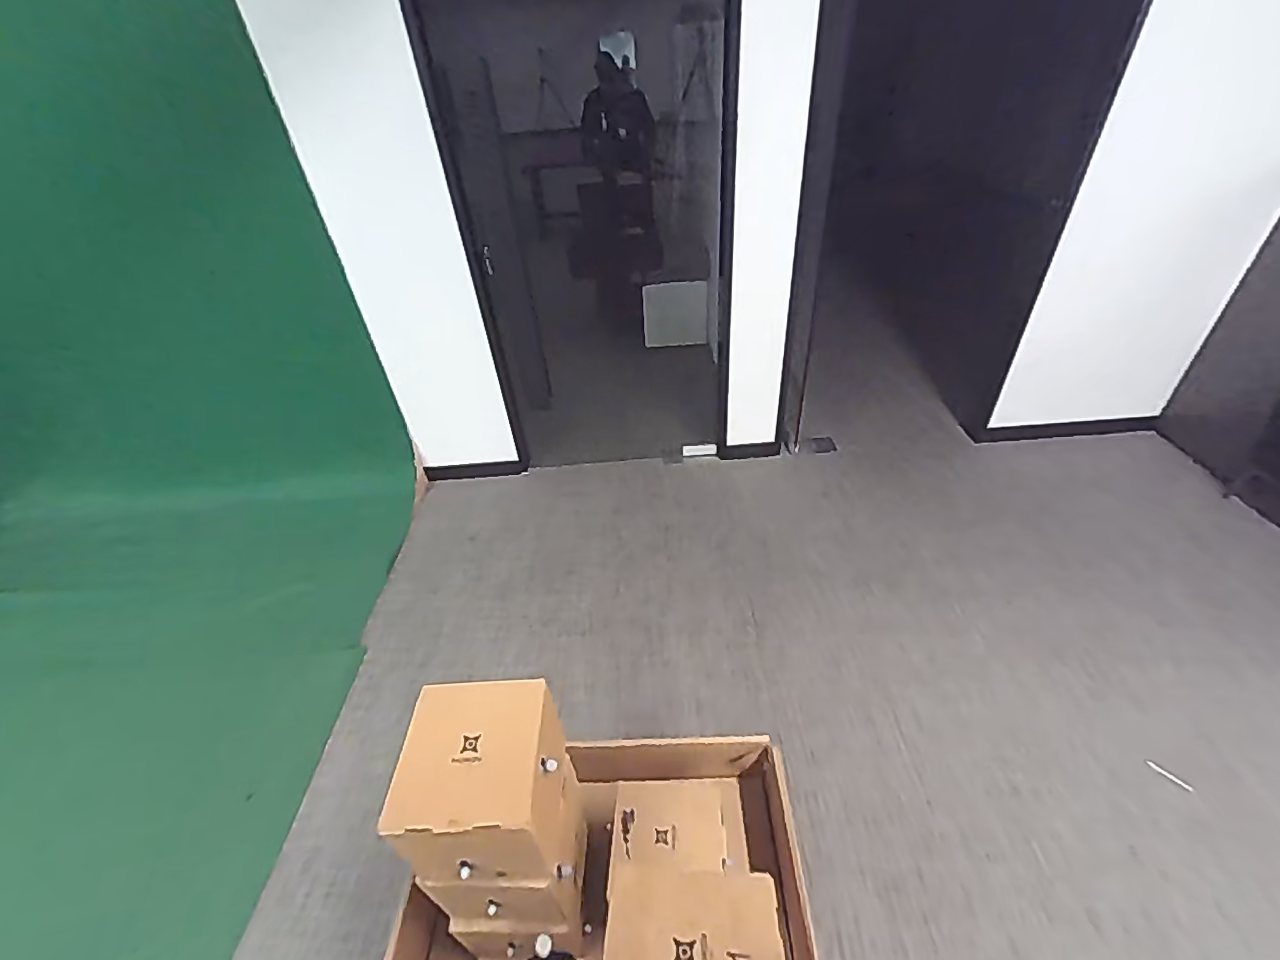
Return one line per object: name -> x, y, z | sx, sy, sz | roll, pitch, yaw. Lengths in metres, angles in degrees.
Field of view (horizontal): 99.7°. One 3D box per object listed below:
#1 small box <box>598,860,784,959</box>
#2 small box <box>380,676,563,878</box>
small box -> 0.050, 0.522, 0.537 | 0.179, 0.176, 0.168 | 1, 19, 5
small box -> -0.196, 0.378, 0.693 | 0.168, 0.176, 0.179 | -4, 38, 1
